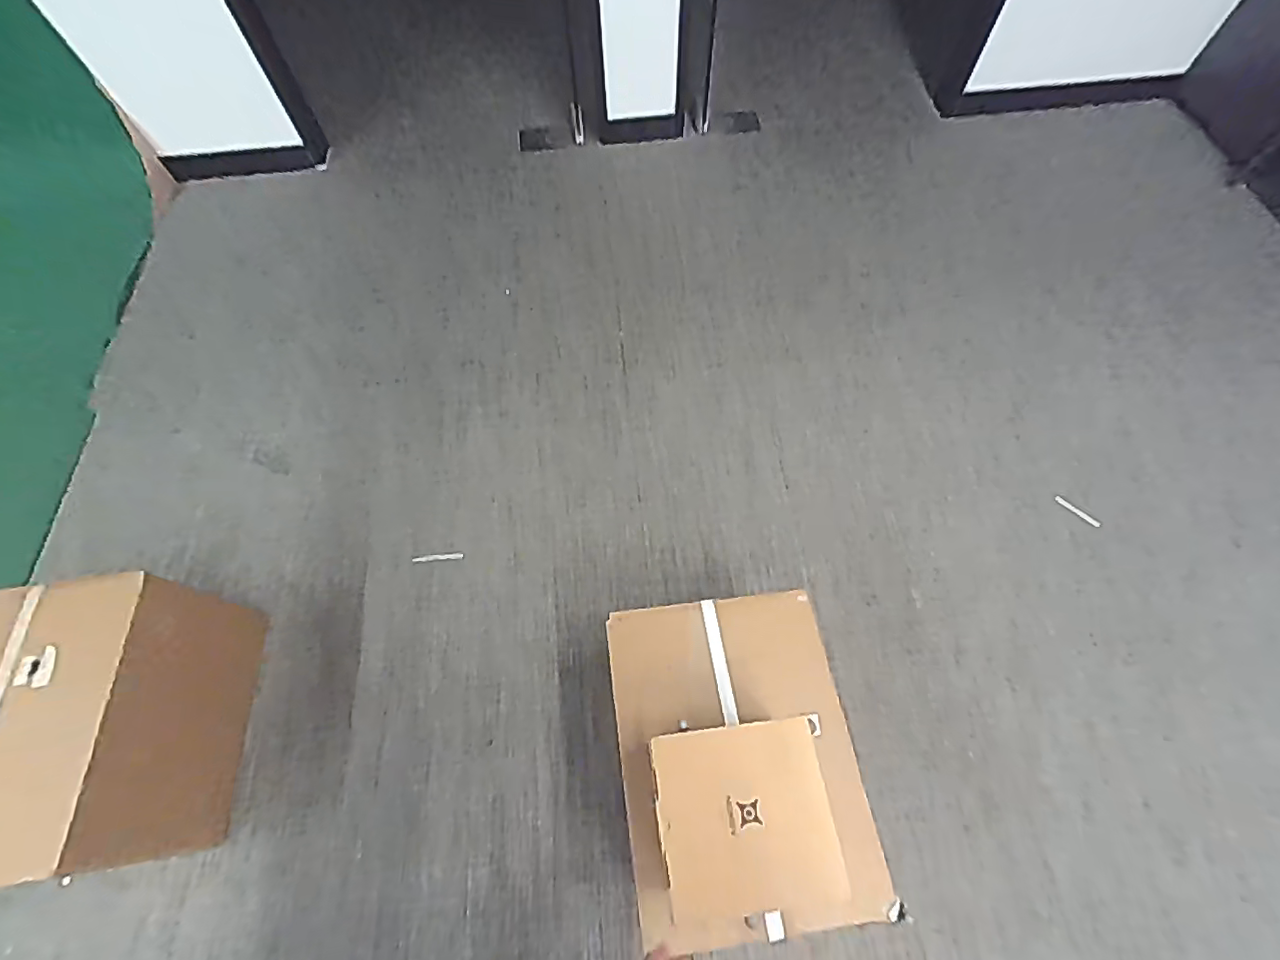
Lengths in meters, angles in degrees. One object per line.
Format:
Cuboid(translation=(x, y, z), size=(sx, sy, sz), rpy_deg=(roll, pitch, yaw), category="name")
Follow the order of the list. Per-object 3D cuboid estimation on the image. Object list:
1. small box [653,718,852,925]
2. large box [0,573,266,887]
Cuboid(translation=(0.112, 0.373, 0.620), size=(0.179, 0.176, 0.168), rpy_deg=(-9, 63, 0), category="small box")
Cuboid(translation=(-0.893, 0.409, 0.889), size=(0.320, 0.320, 0.408), rpy_deg=(-7, 62, -2), category="large box")
